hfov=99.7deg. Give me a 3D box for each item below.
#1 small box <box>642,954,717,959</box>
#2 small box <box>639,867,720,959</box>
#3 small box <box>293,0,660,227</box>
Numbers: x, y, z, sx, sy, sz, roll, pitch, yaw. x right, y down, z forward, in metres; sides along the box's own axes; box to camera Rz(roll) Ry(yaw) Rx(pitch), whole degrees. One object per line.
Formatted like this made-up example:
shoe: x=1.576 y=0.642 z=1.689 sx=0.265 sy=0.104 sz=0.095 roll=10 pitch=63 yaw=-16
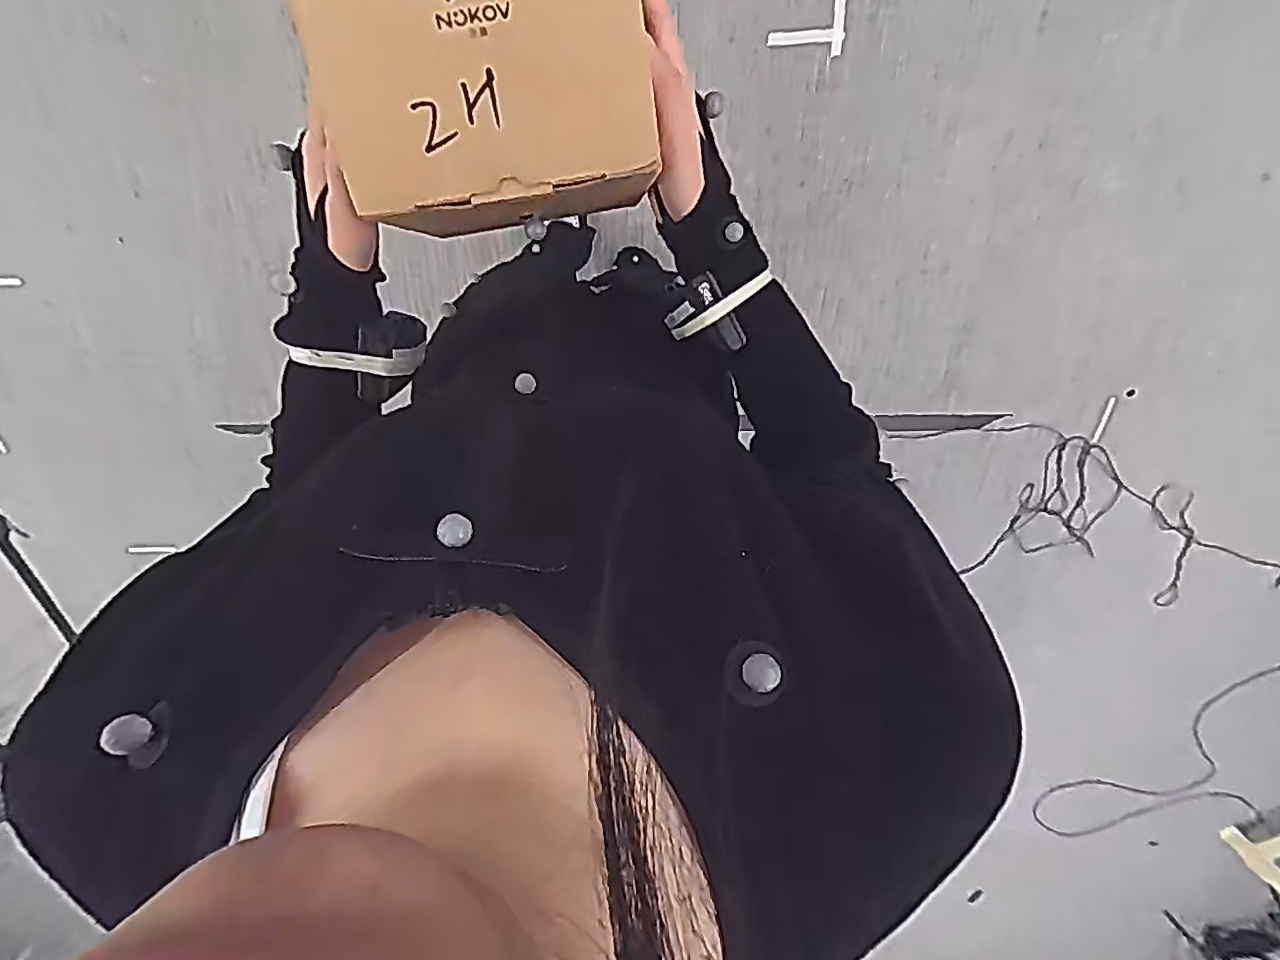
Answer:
small box: x=0.085 y=1.097 z=1.092 sx=0.168 sy=0.176 sz=0.179 roll=-1 pitch=119 yaw=-1
small box: x=0.081 y=1.014 z=1.233 sx=0.168 sy=0.176 sz=0.179 roll=0 pitch=119 yaw=-1
small box: x=-0.088 y=-0.265 z=0.327 sx=0.168 sy=0.176 sz=0.179 roll=-10 pitch=112 yaw=-1
